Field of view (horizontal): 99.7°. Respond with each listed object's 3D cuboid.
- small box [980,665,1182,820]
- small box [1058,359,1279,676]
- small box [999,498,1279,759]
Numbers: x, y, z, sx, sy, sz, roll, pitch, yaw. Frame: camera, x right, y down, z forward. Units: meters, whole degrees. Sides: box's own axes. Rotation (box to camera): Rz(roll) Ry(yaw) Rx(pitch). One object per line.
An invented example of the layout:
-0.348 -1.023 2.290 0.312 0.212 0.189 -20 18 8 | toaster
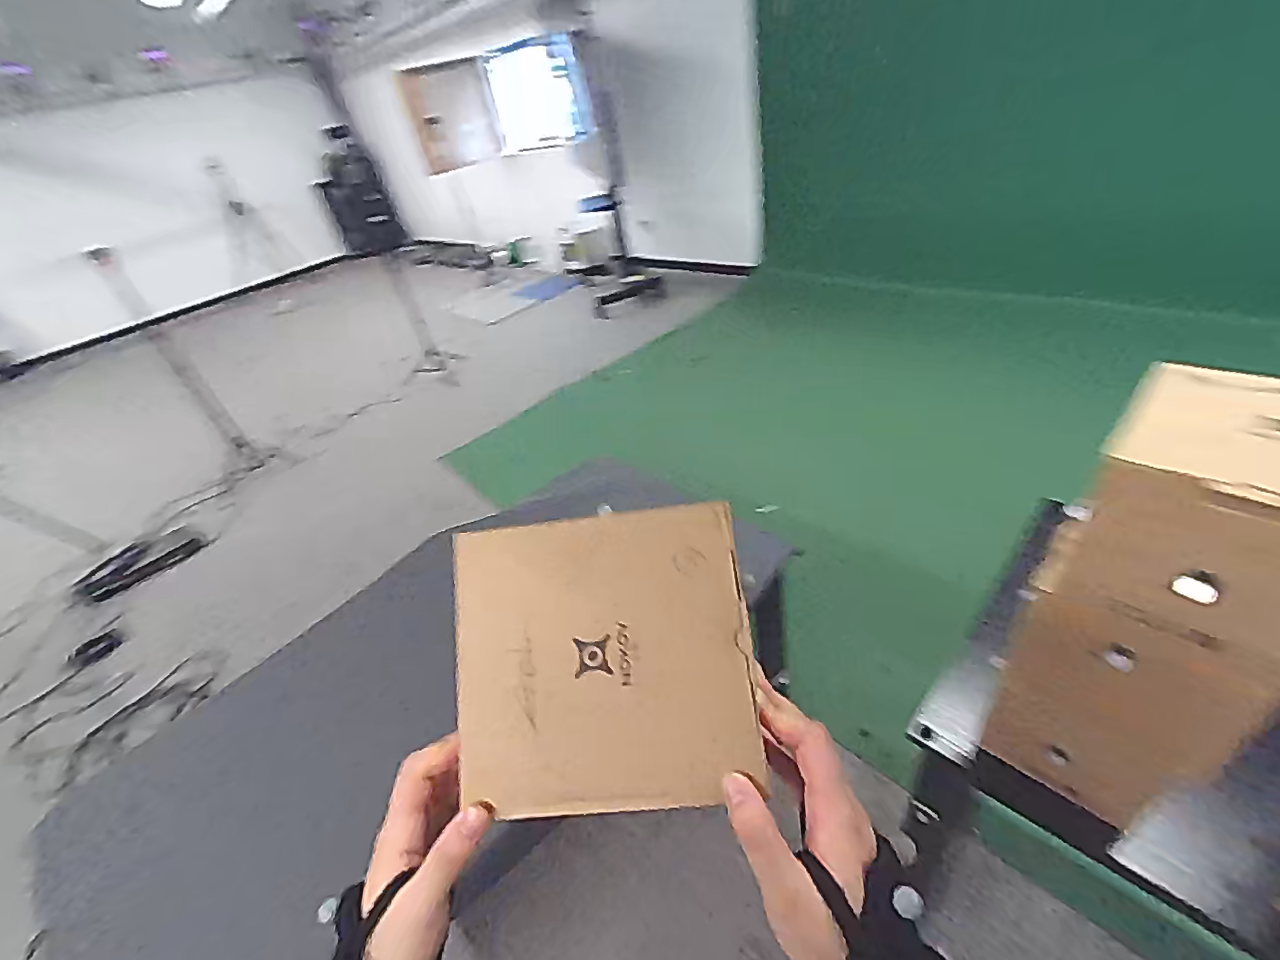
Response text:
0.544 0.266 0.662 0.168 0.176 0.179 26 51 39 | small box
0.483 0.025 0.449 0.179 0.176 0.168 -37 42 -27 | small box
0.507 0.149 0.554 0.179 0.176 0.168 25 51 40 | small box
